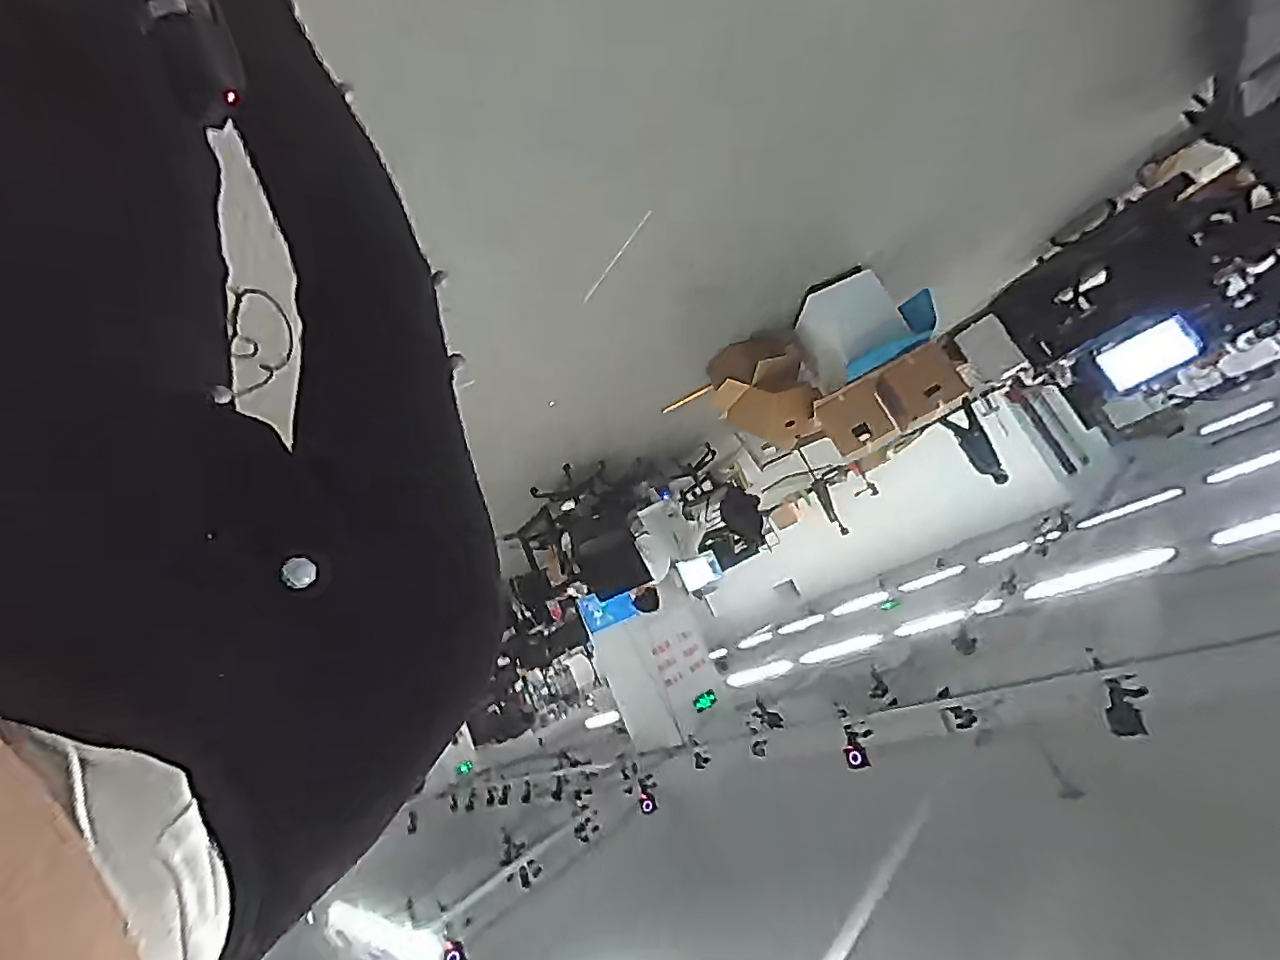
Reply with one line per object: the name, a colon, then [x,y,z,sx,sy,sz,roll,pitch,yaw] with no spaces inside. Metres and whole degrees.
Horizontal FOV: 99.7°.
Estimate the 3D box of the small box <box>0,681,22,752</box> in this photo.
small box: [-1.842,0.672,1.485,0.168,0.176,0.179,-12,160,-44]
